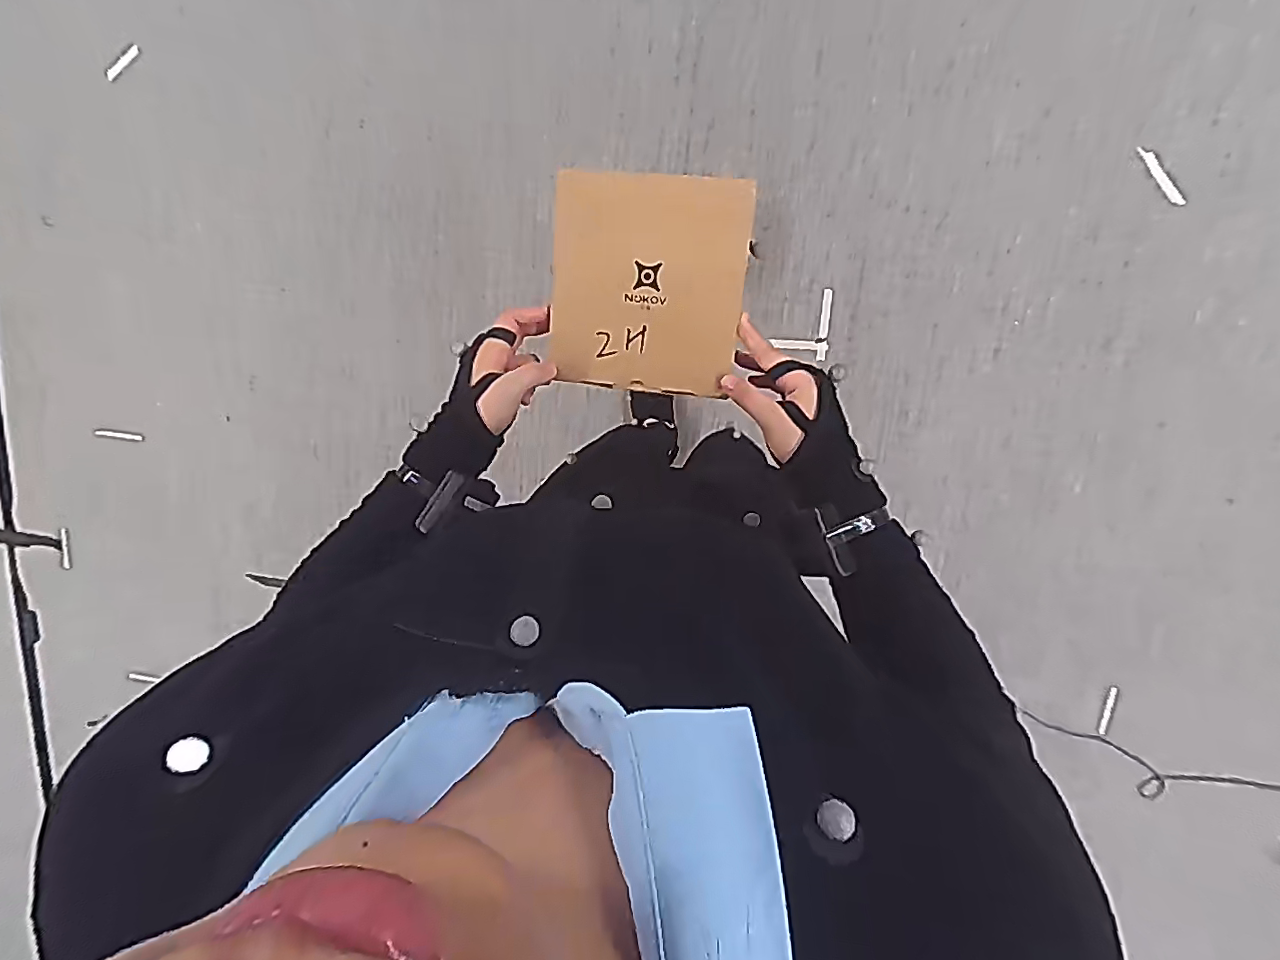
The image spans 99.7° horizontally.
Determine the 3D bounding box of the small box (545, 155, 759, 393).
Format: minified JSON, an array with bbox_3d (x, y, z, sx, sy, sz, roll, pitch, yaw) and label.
[{"bbox_3d":[0.015,-0.189,0.527,0.168,0.176,0.179,8,107,7],"label":"small box"}]
